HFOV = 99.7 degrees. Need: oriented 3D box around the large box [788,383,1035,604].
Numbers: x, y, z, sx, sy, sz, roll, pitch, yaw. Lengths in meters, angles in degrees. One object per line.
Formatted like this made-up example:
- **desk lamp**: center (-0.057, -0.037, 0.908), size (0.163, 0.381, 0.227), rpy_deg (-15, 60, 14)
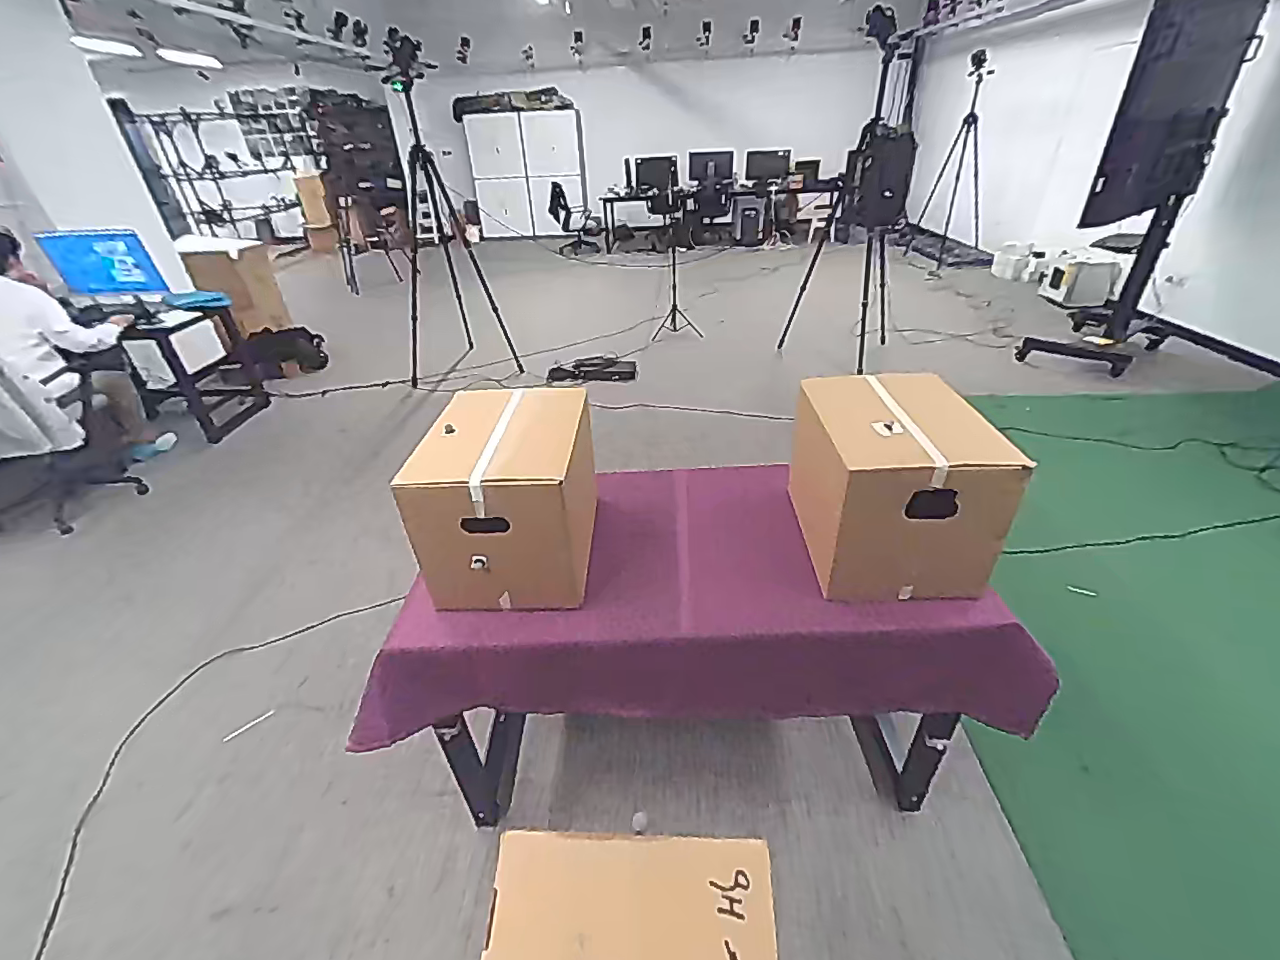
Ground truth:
- **large box**: center (0.530, 0.014, 1.169), size (0.320, 0.320, 0.408), rpy_deg (-1, 34, 3)
